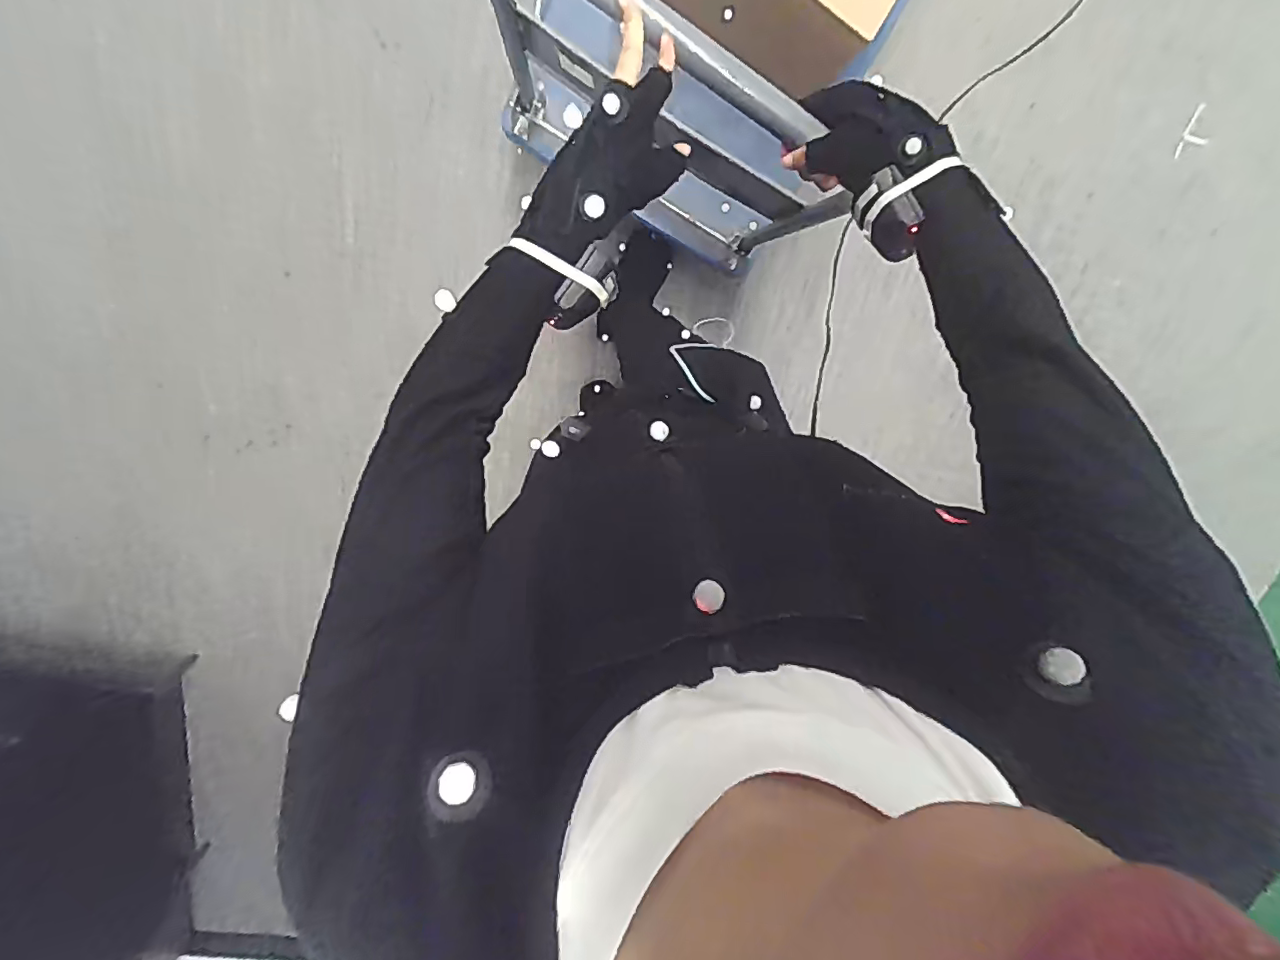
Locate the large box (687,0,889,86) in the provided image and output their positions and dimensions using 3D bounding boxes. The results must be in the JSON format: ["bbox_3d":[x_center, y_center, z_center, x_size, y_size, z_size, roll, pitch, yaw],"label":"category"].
[{"bbox_3d":[0.234,-0.915,0.828,0.408,0.320,0.320,28,107,-12],"label":"large box"}]
